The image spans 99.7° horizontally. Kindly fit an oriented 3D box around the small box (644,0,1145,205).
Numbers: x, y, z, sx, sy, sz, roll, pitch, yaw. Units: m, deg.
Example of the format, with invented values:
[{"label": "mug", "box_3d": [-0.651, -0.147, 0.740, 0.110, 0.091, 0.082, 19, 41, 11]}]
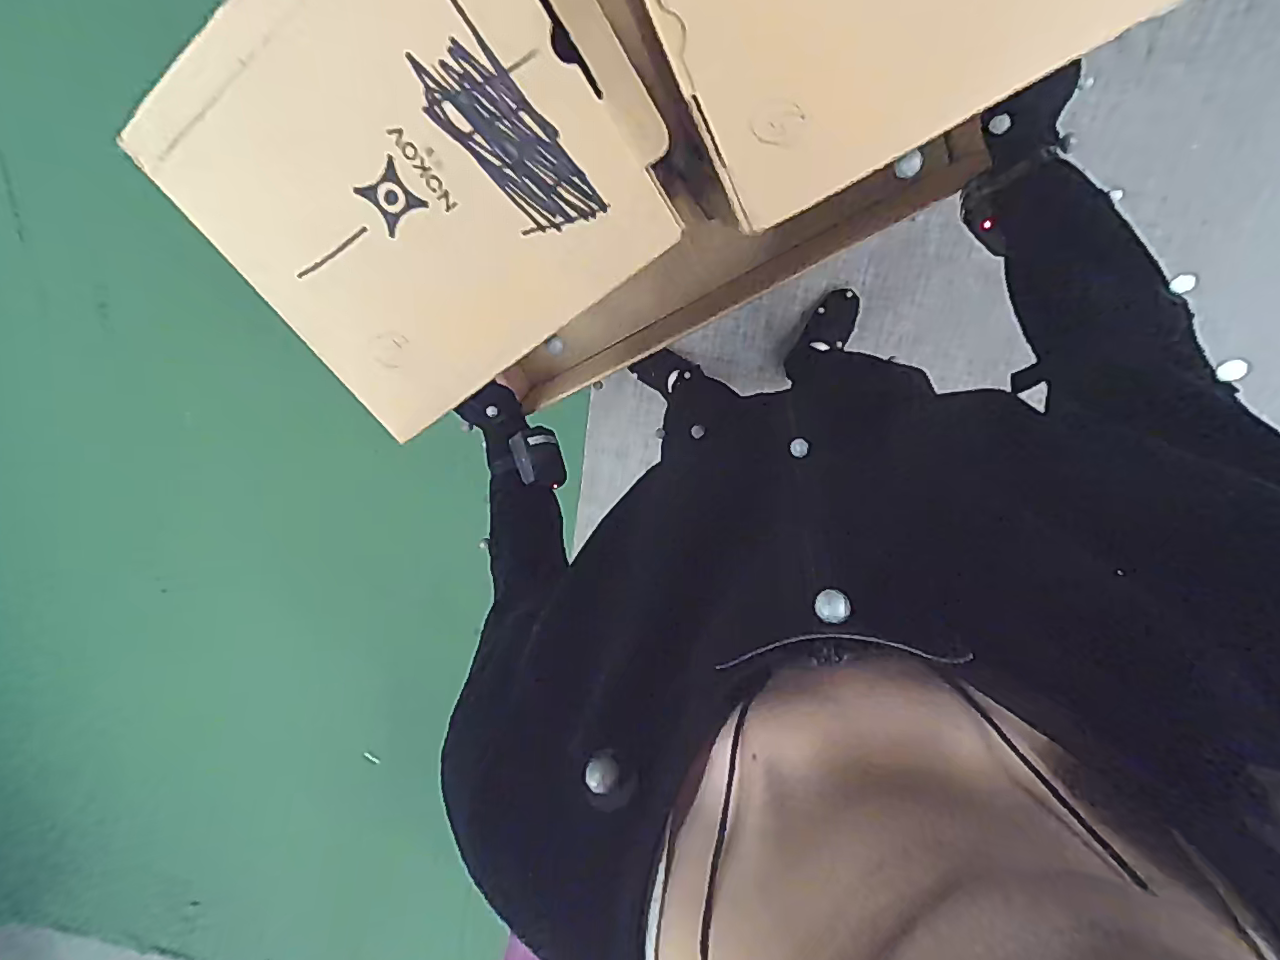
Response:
[{"label": "small box", "box_3d": [0.093, -0.250, 0.255, 0.179, 0.176, 0.168, -24, 113, 15]}]
